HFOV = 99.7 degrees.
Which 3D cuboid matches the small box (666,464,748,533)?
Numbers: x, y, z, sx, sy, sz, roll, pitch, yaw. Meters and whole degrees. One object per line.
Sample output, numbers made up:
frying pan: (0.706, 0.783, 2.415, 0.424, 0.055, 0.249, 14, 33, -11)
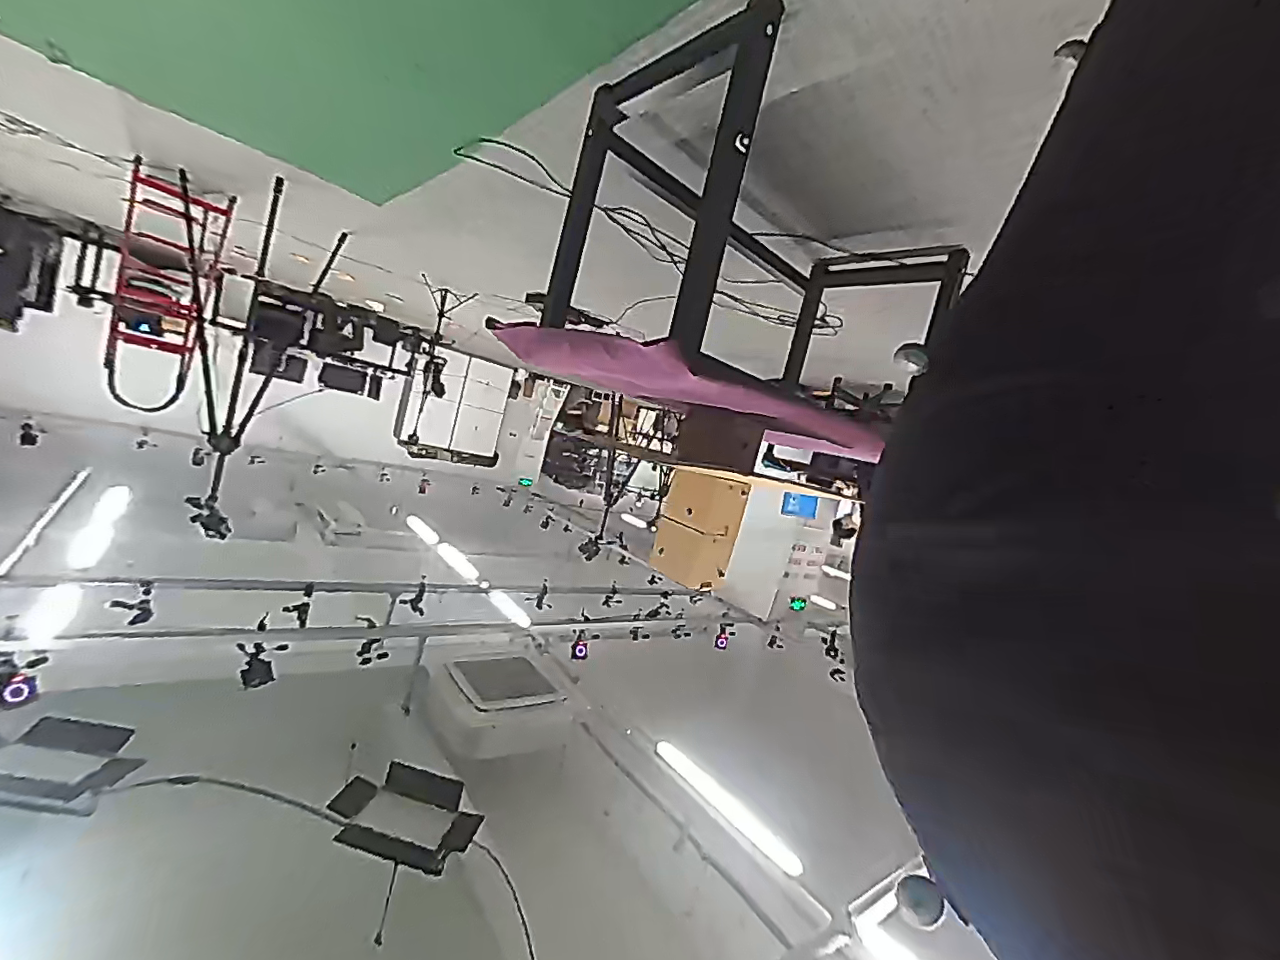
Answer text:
small box: (0.209, 0.054, 1.643, 0.168, 0.176, 0.179, 10, -172, -44)
